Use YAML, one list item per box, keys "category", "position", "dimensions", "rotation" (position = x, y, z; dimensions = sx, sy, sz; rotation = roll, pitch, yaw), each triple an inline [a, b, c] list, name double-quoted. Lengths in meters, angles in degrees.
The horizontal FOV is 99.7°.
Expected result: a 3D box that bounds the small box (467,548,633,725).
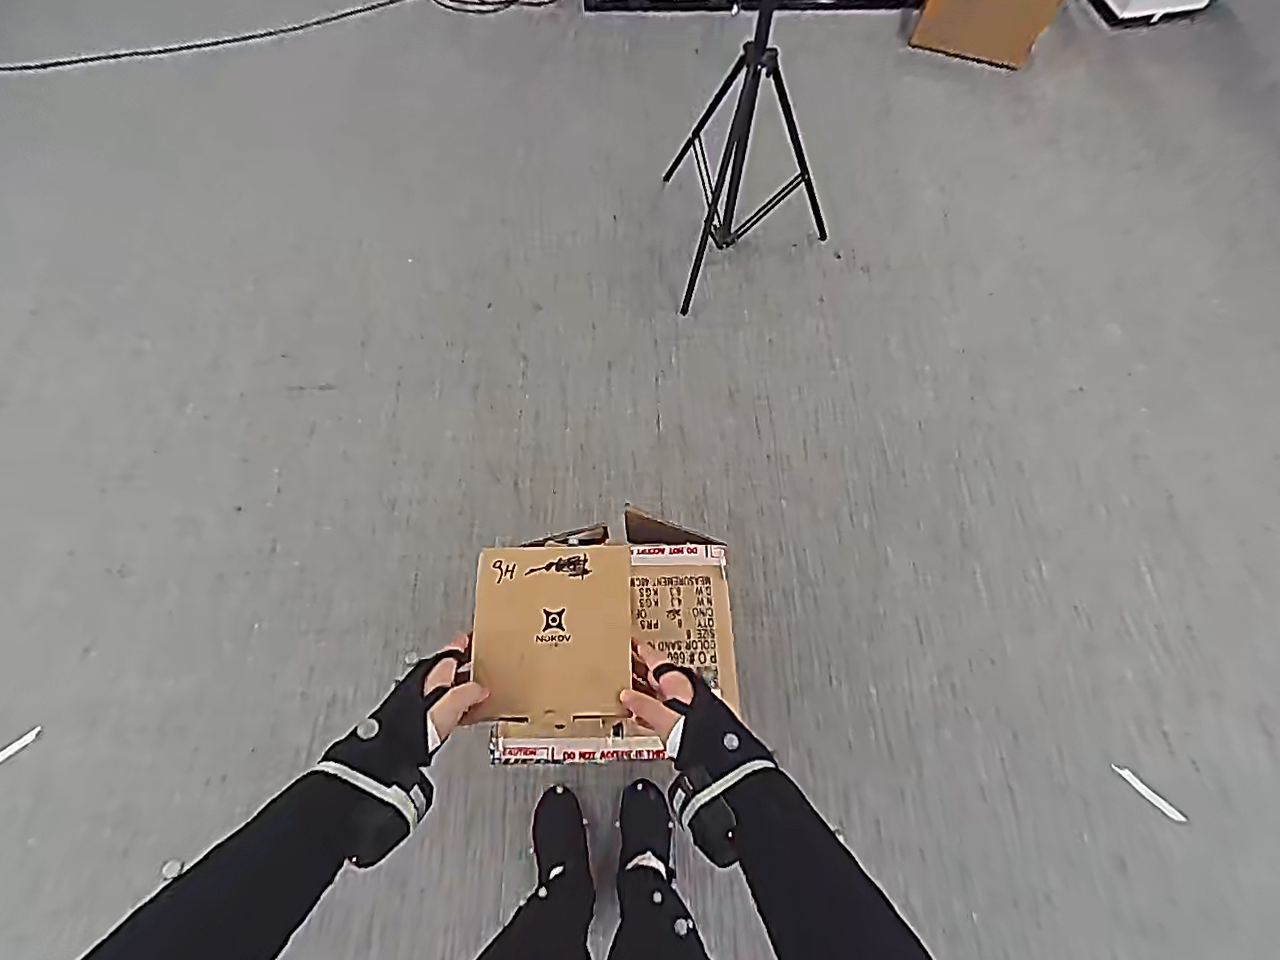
- category: "small box"
  position: [-0.091, 0.181, 0.634]
  dimensions: [0.168, 0.176, 0.179]
  rotation: [-1, 71, -1]
